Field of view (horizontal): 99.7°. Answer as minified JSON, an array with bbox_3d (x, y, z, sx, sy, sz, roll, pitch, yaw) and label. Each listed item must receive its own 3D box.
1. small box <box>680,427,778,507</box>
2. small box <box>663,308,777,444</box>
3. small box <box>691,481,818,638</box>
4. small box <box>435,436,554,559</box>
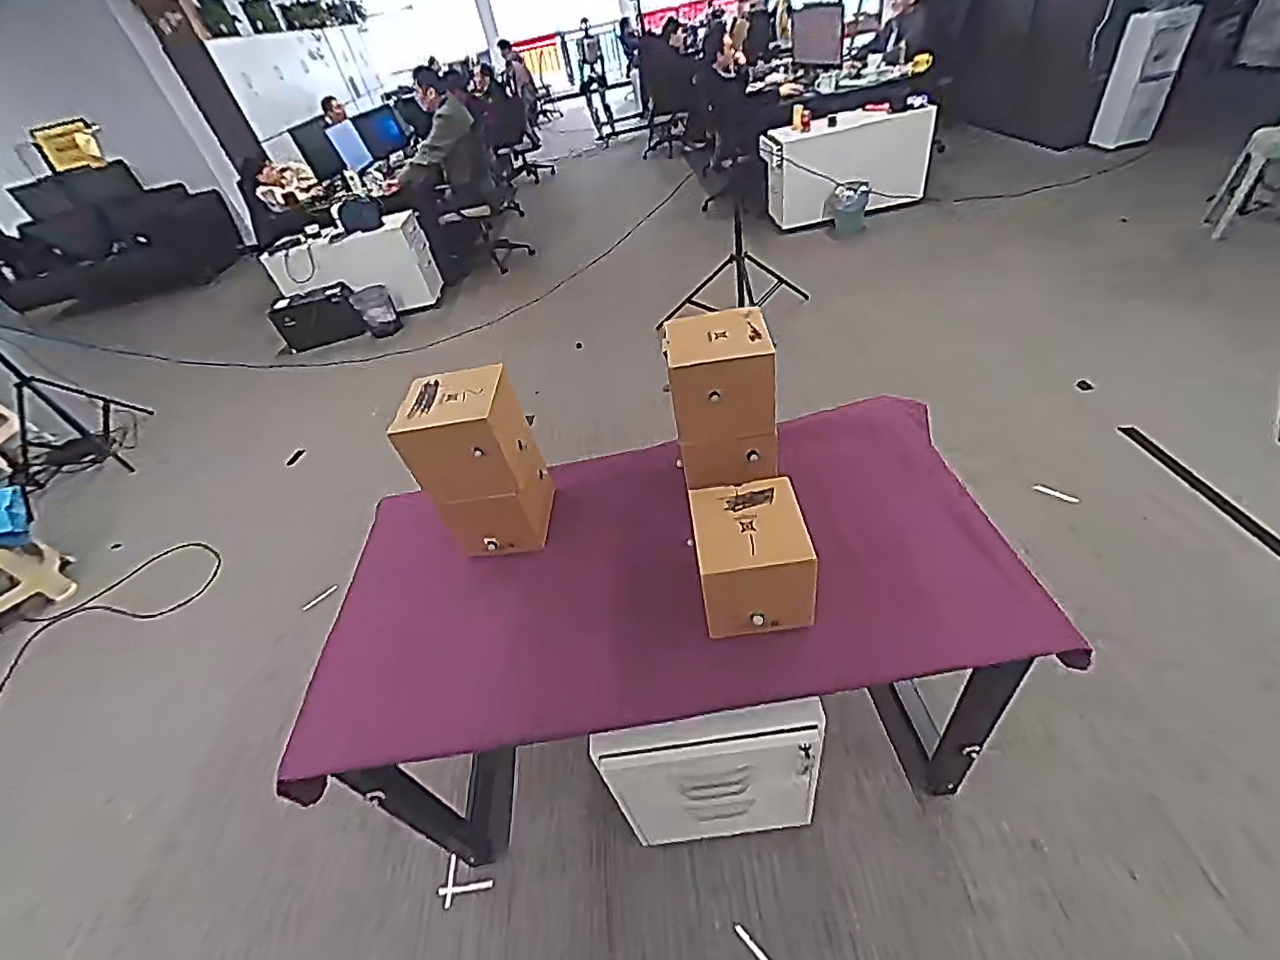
[{"bbox_3d":[0.173,-0.062,1.080,0.179,0.176,0.168,-9,42,6],"label":"small box"},{"bbox_3d":[0.143,-0.182,0.972,0.179,0.176,0.168,-8,43,7],"label":"small box"},{"bbox_3d":[0.178,0.128,0.869,0.168,0.176,0.179,-9,41,6],"label":"small box"},{"bbox_3d":[-0.281,0.037,1.093,0.168,0.176,0.179,-8,44,8],"label":"small box"}]
